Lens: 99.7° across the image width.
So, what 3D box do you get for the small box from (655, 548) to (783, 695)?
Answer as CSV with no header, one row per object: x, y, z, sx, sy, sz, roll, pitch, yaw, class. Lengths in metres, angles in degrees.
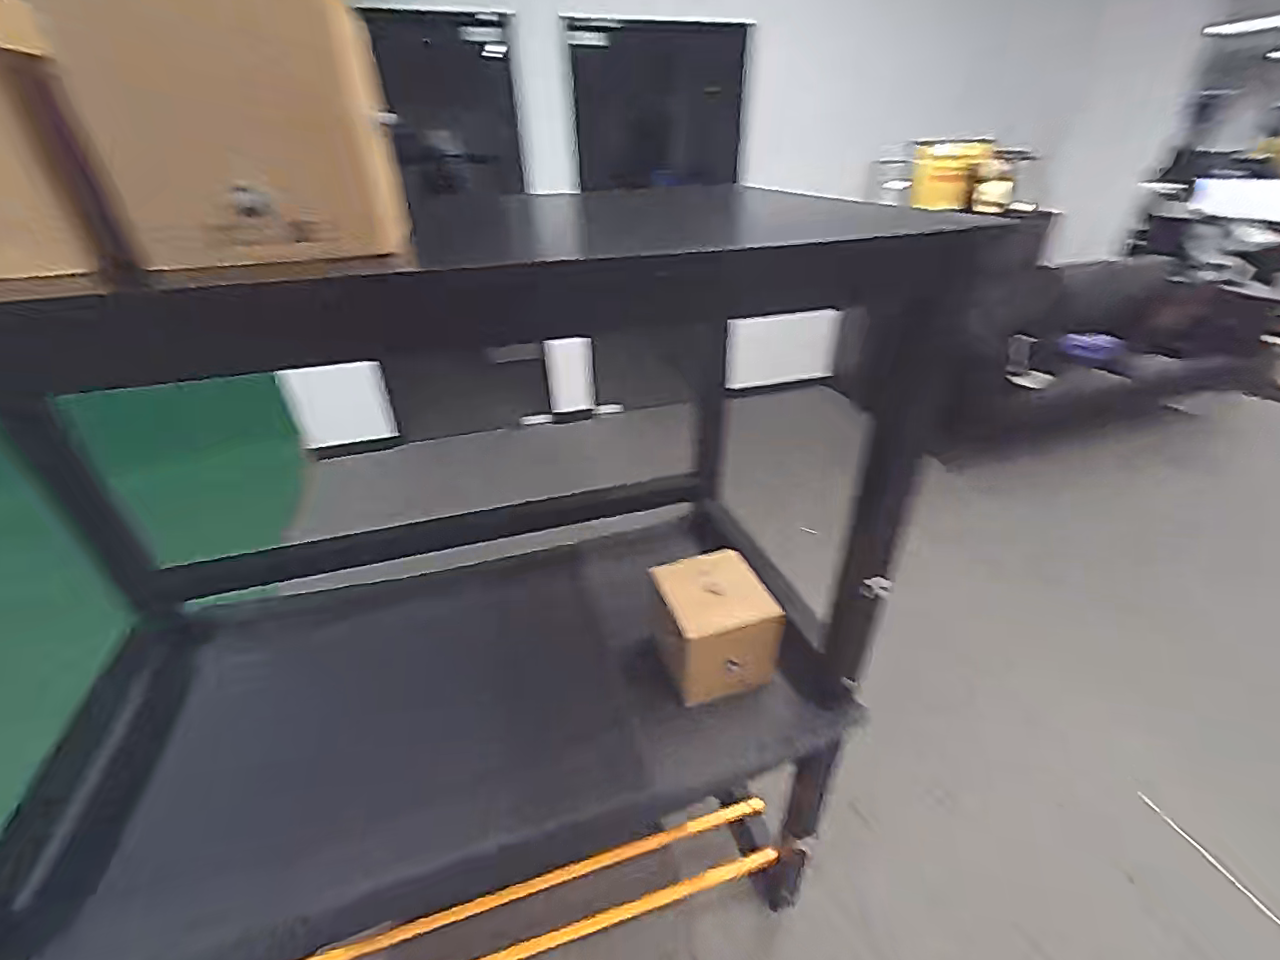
0.132,0.253,0.954,0.168,0.176,0.179,-11,32,-15,small box
